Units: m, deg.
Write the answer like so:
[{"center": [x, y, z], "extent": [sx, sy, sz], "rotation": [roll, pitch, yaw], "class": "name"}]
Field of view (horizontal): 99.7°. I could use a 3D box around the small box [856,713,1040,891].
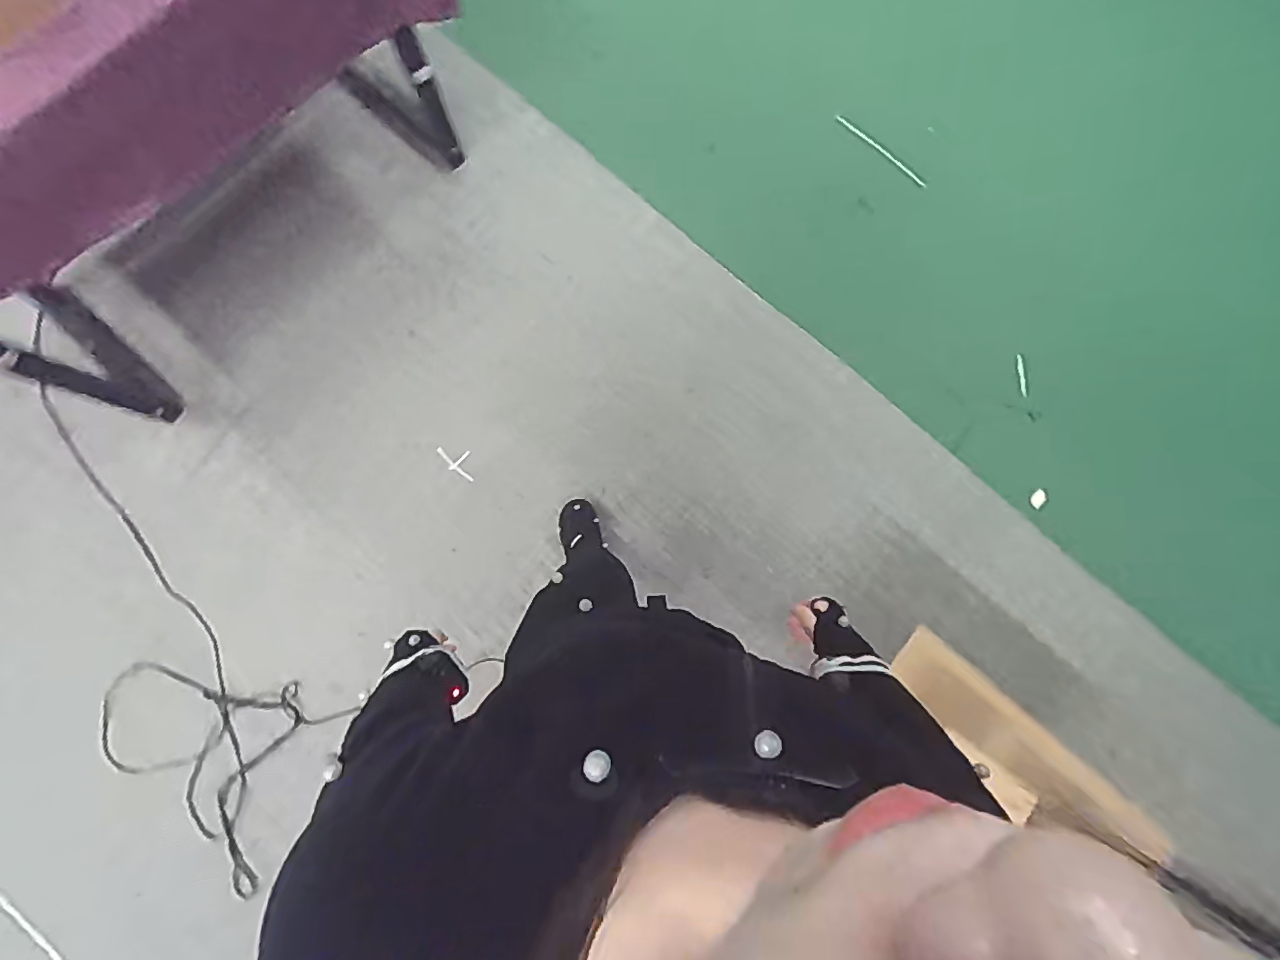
[{"center": [0.502, 0.520, 0.910], "extent": [0.179, 0.176, 0.168], "rotation": [37, 82, 4], "class": "small box"}]
